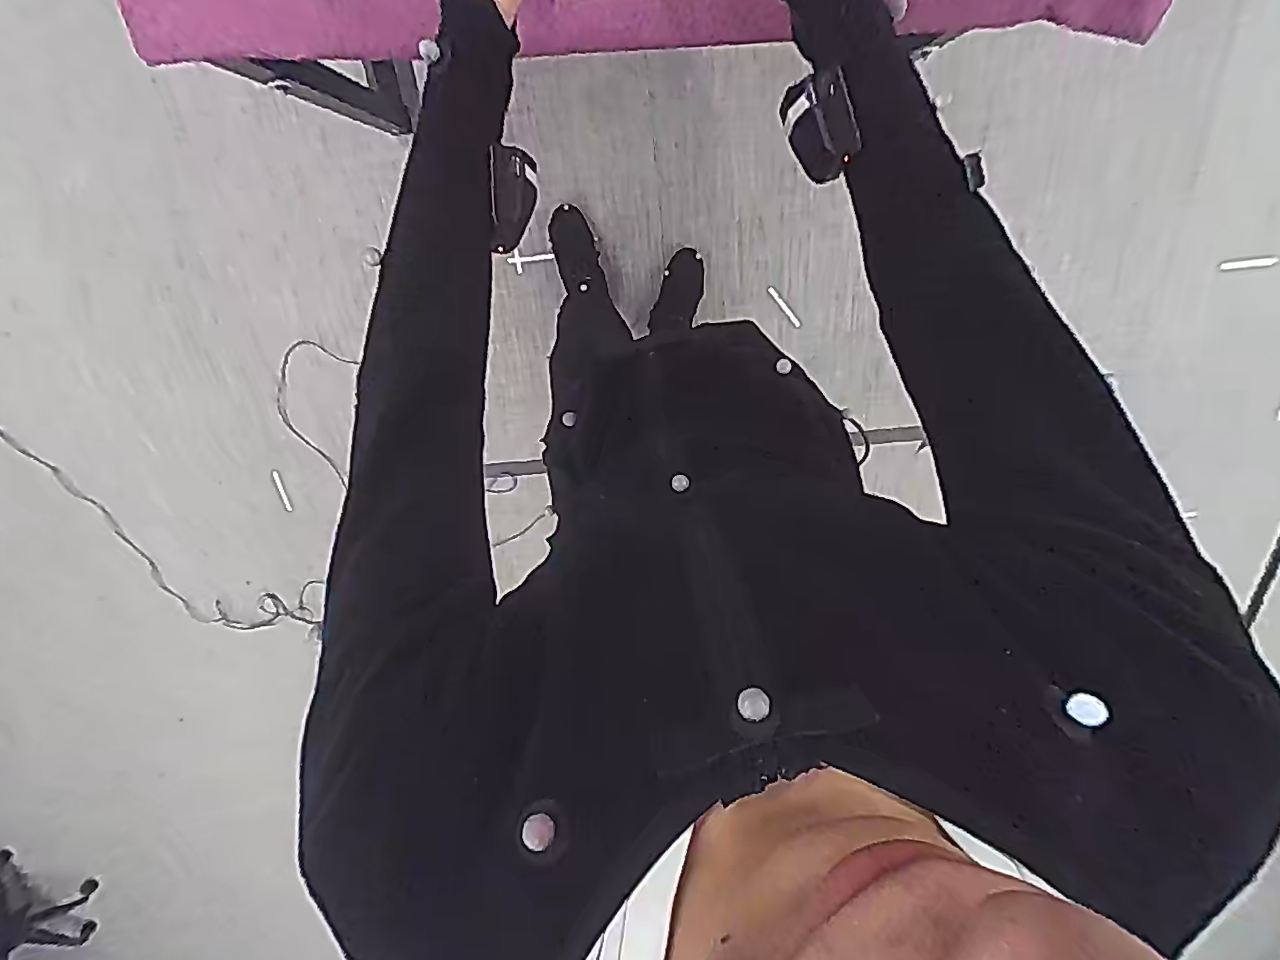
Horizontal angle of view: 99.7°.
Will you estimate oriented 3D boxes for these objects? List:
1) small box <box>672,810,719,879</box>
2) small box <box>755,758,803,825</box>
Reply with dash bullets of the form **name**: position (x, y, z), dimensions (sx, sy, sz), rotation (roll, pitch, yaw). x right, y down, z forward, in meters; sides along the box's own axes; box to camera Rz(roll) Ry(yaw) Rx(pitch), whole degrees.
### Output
- **small box**: position (0.217, 1.440, 2.138), dimensions (0.179, 0.176, 0.168), rotation (-4, 116, 1)
- **small box**: position (0.587, 1.306, 2.272), dimensions (0.168, 0.176, 0.179), rotation (-12, 115, 3)
